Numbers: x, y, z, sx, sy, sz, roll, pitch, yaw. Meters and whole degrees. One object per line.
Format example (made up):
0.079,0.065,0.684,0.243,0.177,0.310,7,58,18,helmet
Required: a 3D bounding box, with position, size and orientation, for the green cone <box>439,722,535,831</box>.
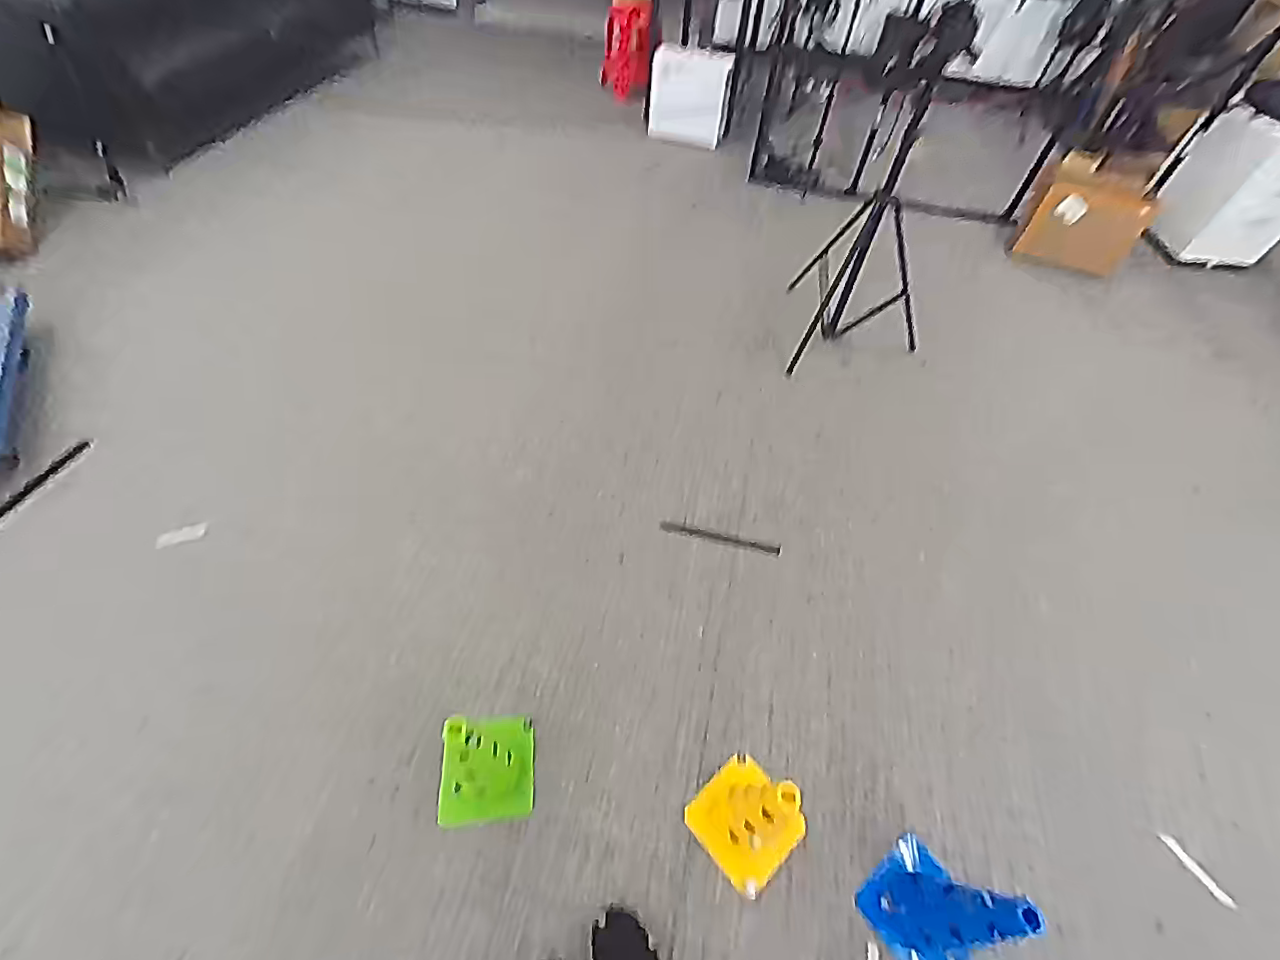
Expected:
-0.327,0.545,1.059,0.200,0.368,0.202,-5,53,-7,green cone
